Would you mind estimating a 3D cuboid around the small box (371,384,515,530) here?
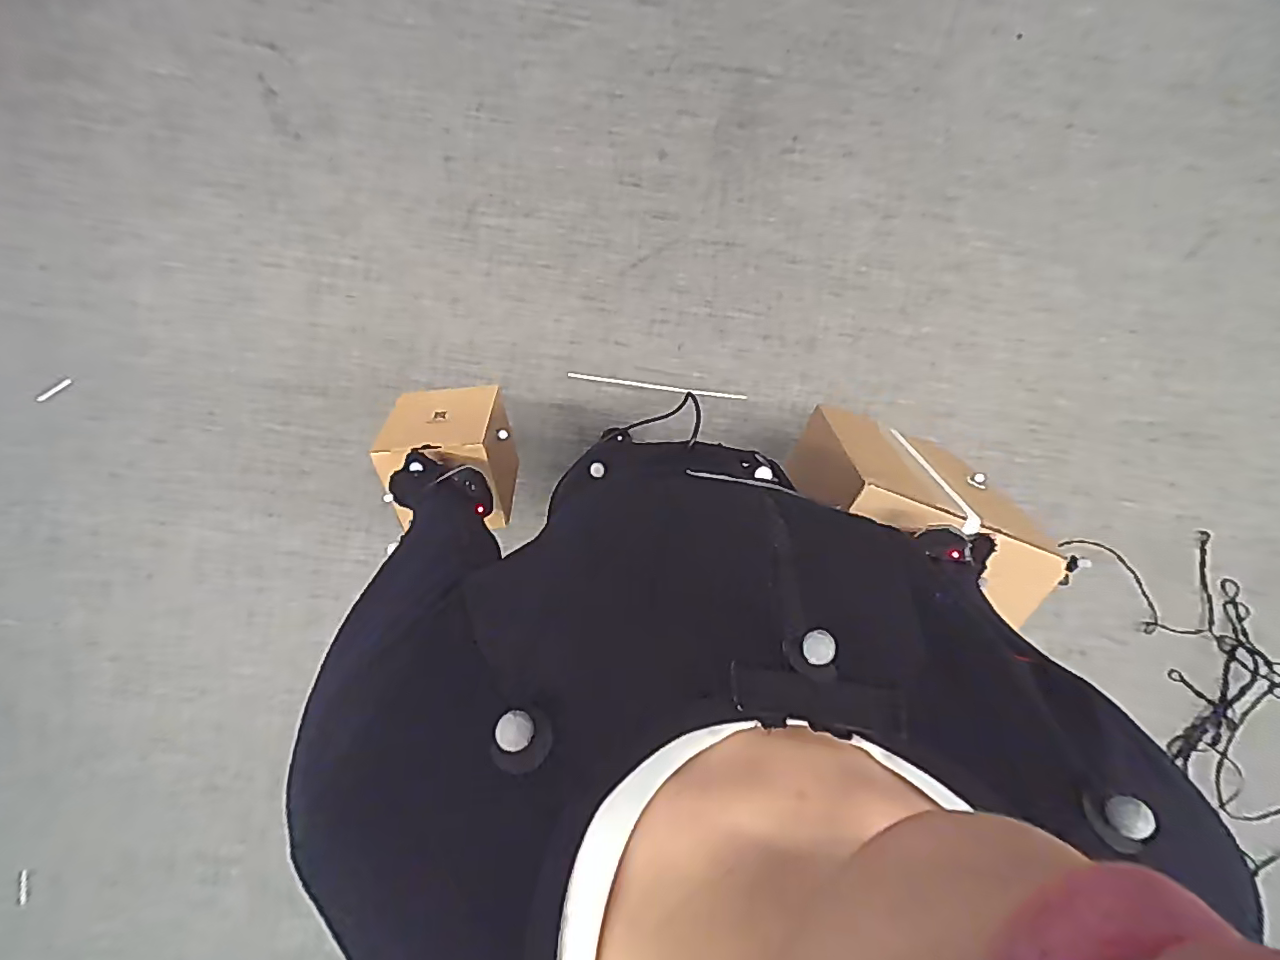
[{"bbox_3d":[-0.309,-0.039,0.893,0.168,0.179,0.176,-5,129,-1],"label":"small box"}]
